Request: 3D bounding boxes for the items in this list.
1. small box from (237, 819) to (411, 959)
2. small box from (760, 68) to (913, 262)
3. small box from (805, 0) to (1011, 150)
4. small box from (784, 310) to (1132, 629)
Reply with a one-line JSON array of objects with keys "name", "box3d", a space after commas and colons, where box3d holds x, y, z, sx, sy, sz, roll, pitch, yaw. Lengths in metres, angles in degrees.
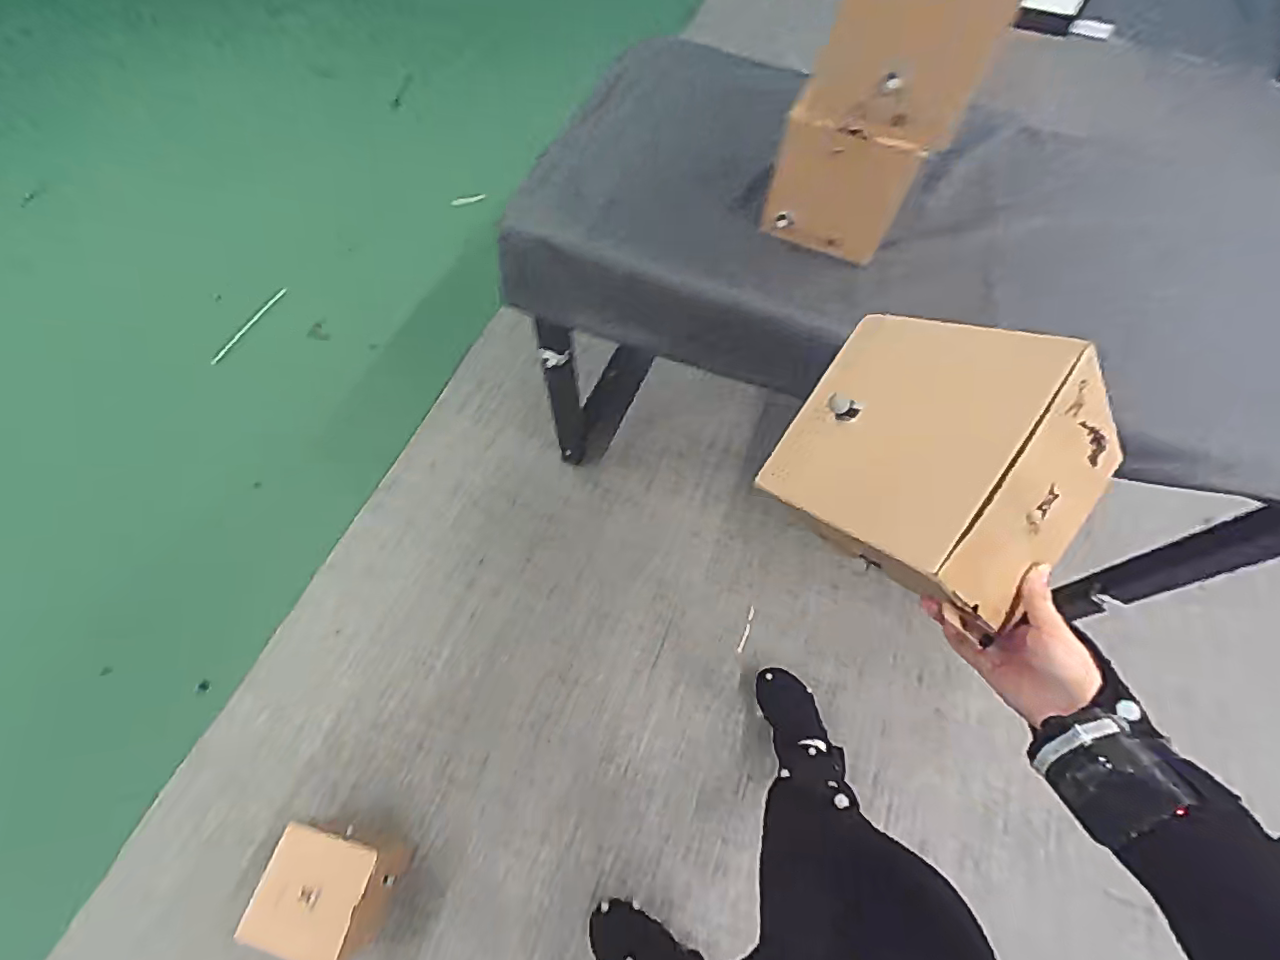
[{"name": "small box", "box3d": [-0.540, 0.718, 0.956, 0.179, 0.176, 0.168, 13, 62, 6]}, {"name": "small box", "box3d": [0.281, -0.441, 0.757, 0.168, 0.176, 0.179, 23, 63, 10]}, {"name": "small box", "box3d": [0.303, -0.518, 0.612, 0.168, 0.176, 0.179, 20, 64, 9]}, {"name": "small box", "box3d": [0.246, -0.014, 0.445, 0.179, 0.168, 0.176, -56, 38, 2]}]
